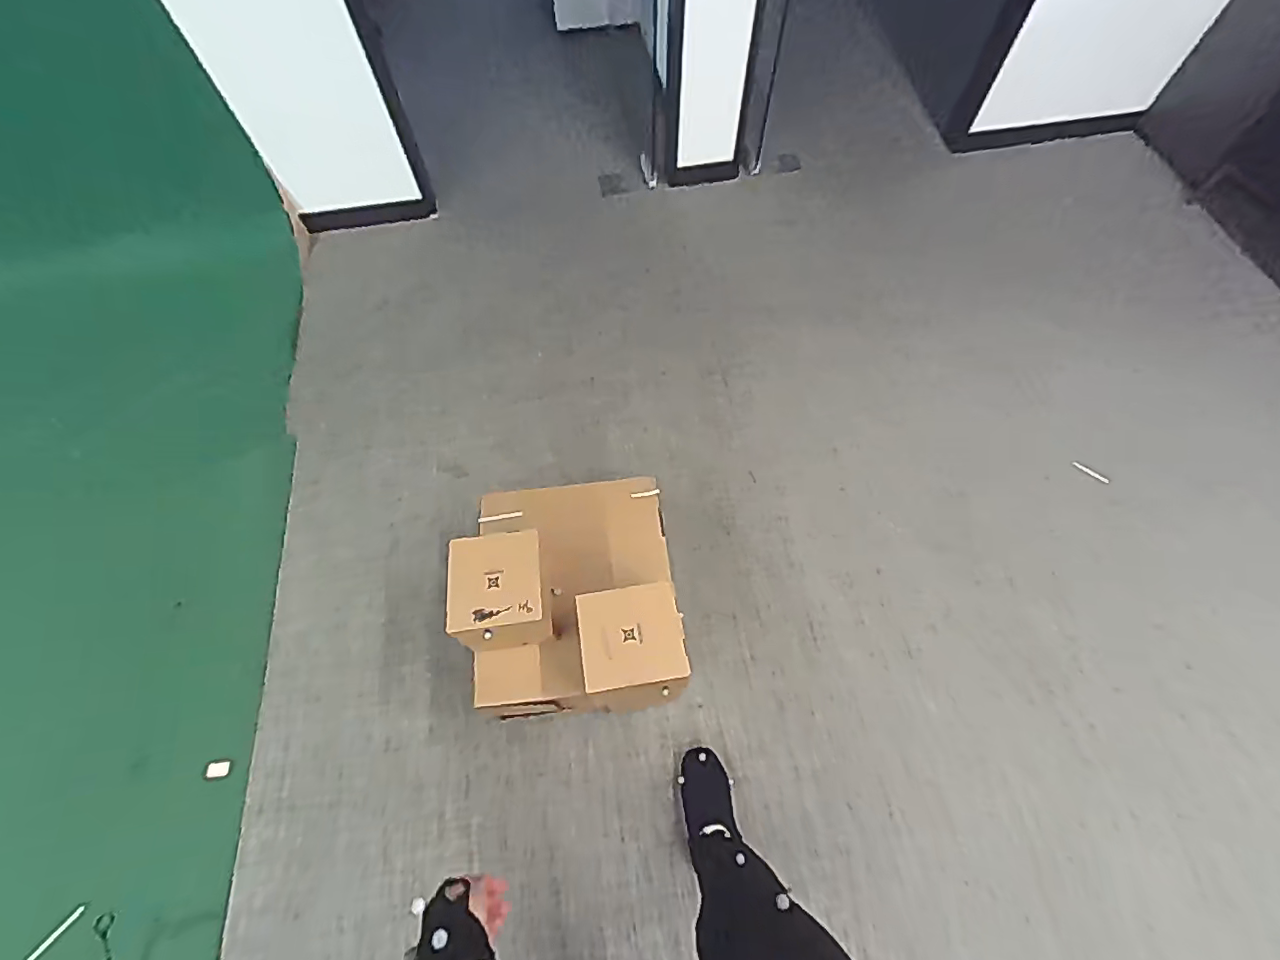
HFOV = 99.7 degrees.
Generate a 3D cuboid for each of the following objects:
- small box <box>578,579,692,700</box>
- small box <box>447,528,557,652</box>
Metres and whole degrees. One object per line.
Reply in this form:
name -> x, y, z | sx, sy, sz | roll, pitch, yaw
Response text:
small box -> -0.012, 0.293, 0.979 | 0.179, 0.176, 0.168 | -9, 62, -4
small box -> -0.254, 0.212, 1.027 | 0.168, 0.176, 0.179 | -7, 61, -2
